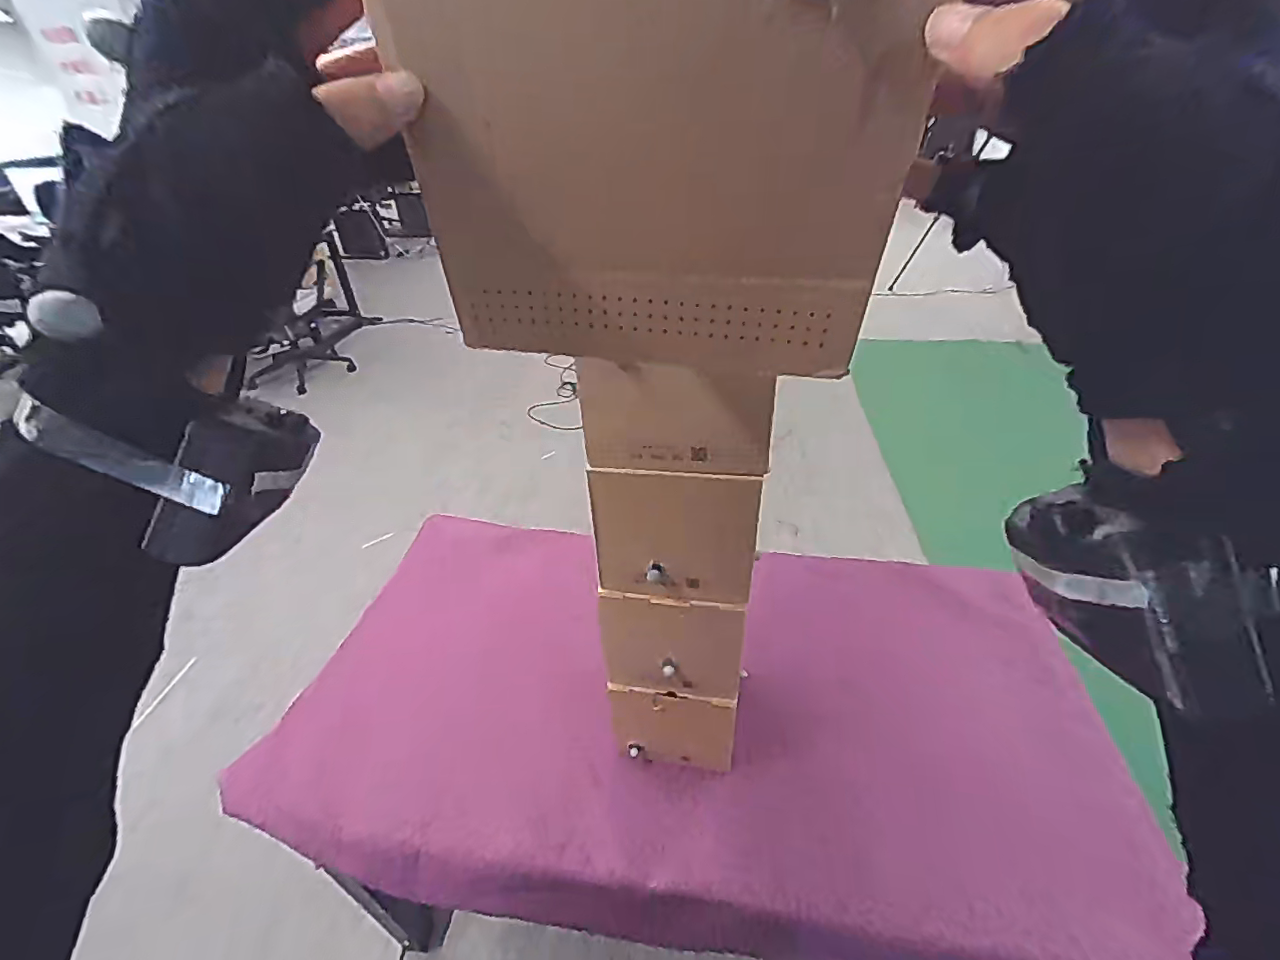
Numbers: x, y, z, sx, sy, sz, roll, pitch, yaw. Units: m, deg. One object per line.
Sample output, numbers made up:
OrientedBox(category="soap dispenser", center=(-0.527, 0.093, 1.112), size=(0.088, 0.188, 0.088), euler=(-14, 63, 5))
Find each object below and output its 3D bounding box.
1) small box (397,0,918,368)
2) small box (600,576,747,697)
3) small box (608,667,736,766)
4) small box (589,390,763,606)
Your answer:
OrientedBox(category="small box", center=(0.012, -0.169, 0.249), size=(0.179, 0.176, 0.168), euler=(7, 47, 7))
OrientedBox(category="small box", center=(0.052, 0.149, 0.703), size=(0.168, 0.176, 0.179), euler=(4, 36, 10))
OrientedBox(category="small box", center=(0.058, 0.287, 0.792), size=(0.168, 0.176, 0.179), euler=(5, 36, 10))
OrientedBox(category="small box", center=(0.047, 0.014, 0.612), size=(0.168, 0.176, 0.179), euler=(4, 36, 10))
